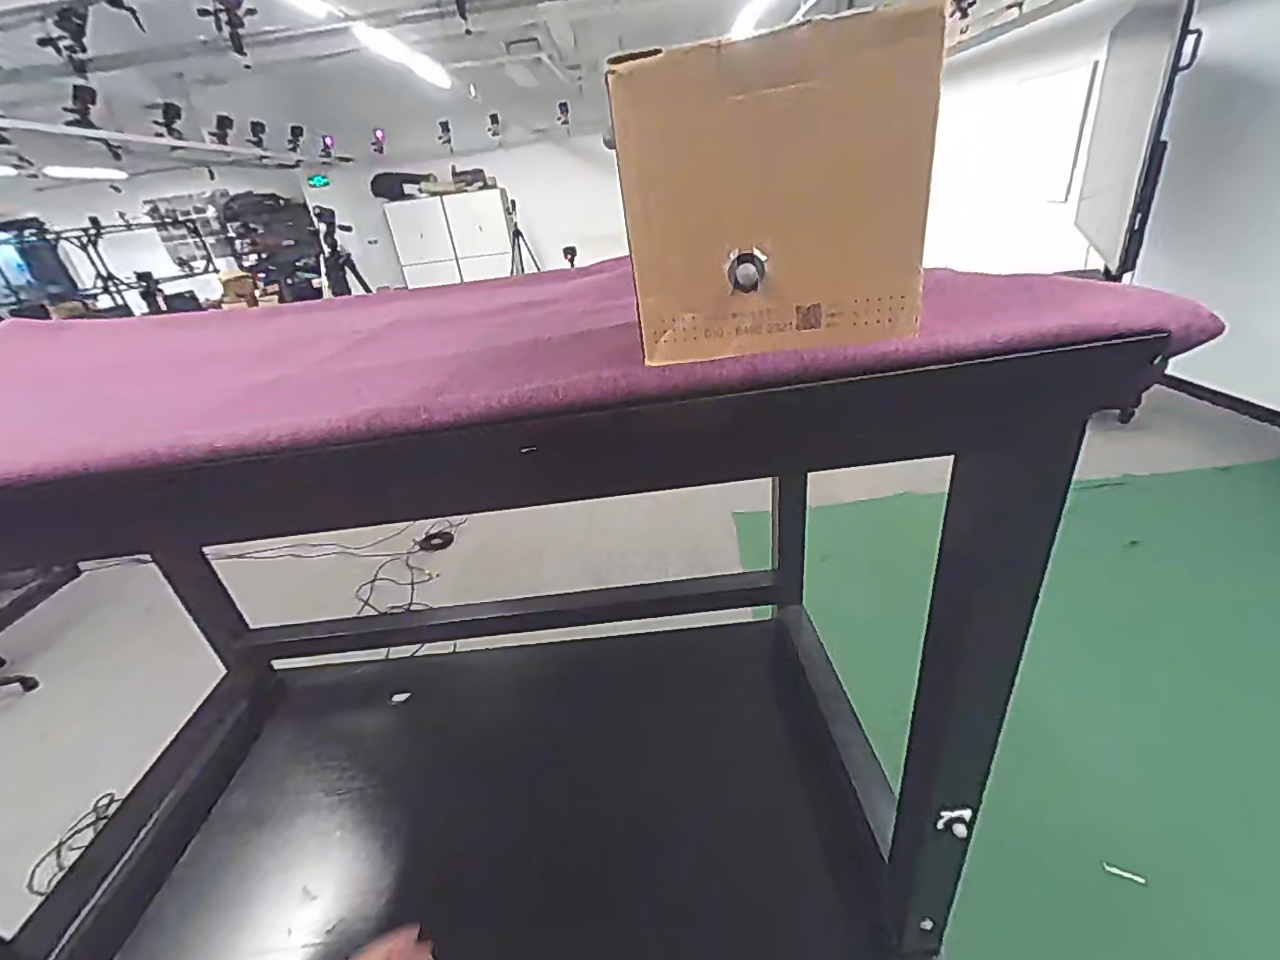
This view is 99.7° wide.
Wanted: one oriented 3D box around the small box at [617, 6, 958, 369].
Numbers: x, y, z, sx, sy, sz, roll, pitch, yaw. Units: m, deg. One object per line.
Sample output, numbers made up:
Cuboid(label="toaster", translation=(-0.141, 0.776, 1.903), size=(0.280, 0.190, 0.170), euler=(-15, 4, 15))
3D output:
Cuboid(label="small box", translation=(0.089, -0.184, 0.372), size=(0.168, 0.176, 0.179), euler=(-2, 30, 12))
